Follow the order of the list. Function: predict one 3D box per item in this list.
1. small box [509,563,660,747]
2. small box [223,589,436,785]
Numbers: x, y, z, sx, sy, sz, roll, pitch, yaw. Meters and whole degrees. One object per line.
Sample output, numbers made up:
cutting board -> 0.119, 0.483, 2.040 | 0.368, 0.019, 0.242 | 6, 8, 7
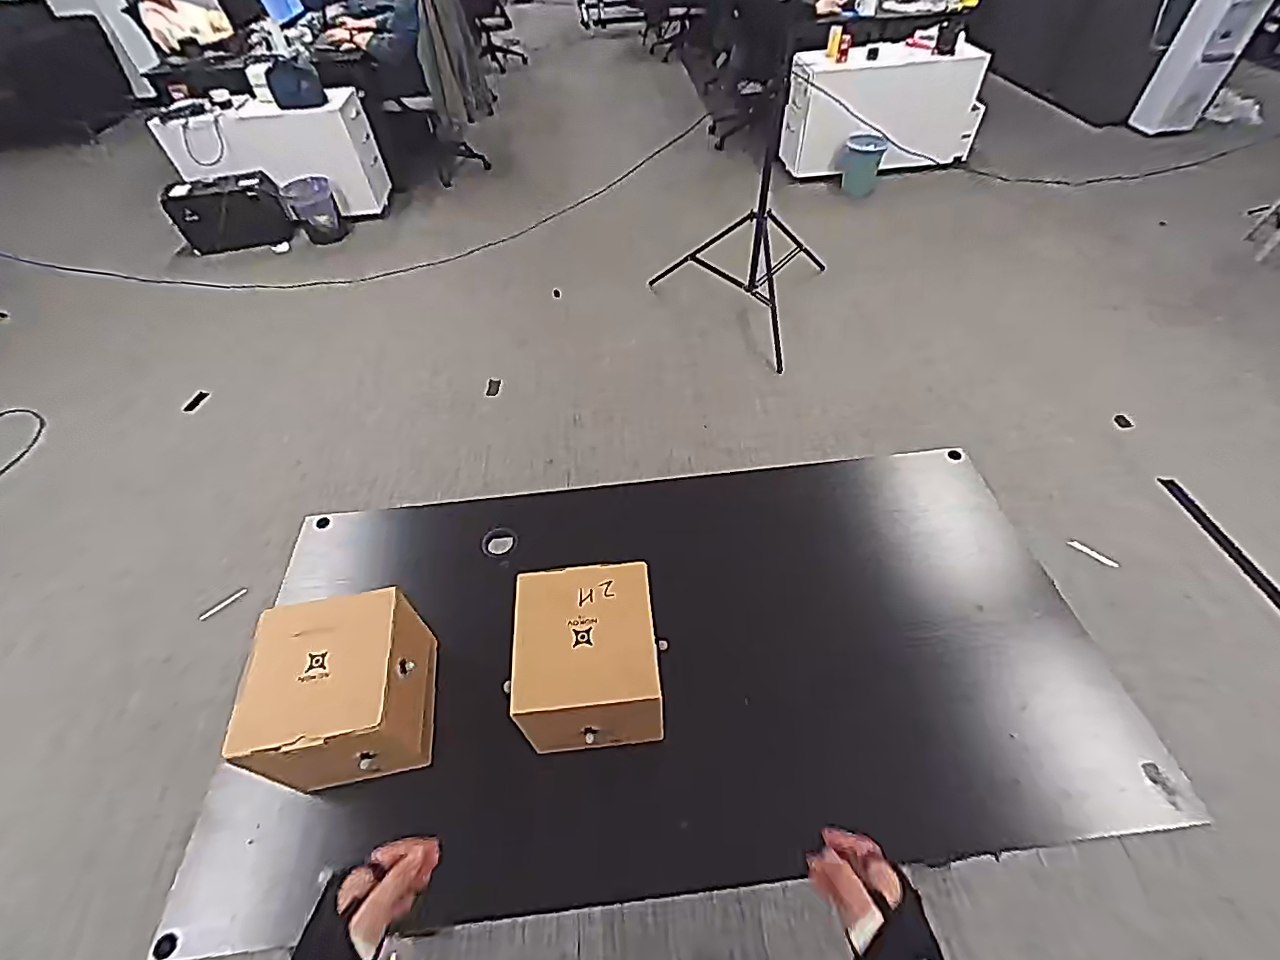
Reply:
small box -> -0.064, 0.231, 0.696 | 0.168, 0.176, 0.179 | -5, 50, -2
small box -> -0.369, 0.267, 0.684 | 0.168, 0.176, 0.179 | -9, 49, -6
